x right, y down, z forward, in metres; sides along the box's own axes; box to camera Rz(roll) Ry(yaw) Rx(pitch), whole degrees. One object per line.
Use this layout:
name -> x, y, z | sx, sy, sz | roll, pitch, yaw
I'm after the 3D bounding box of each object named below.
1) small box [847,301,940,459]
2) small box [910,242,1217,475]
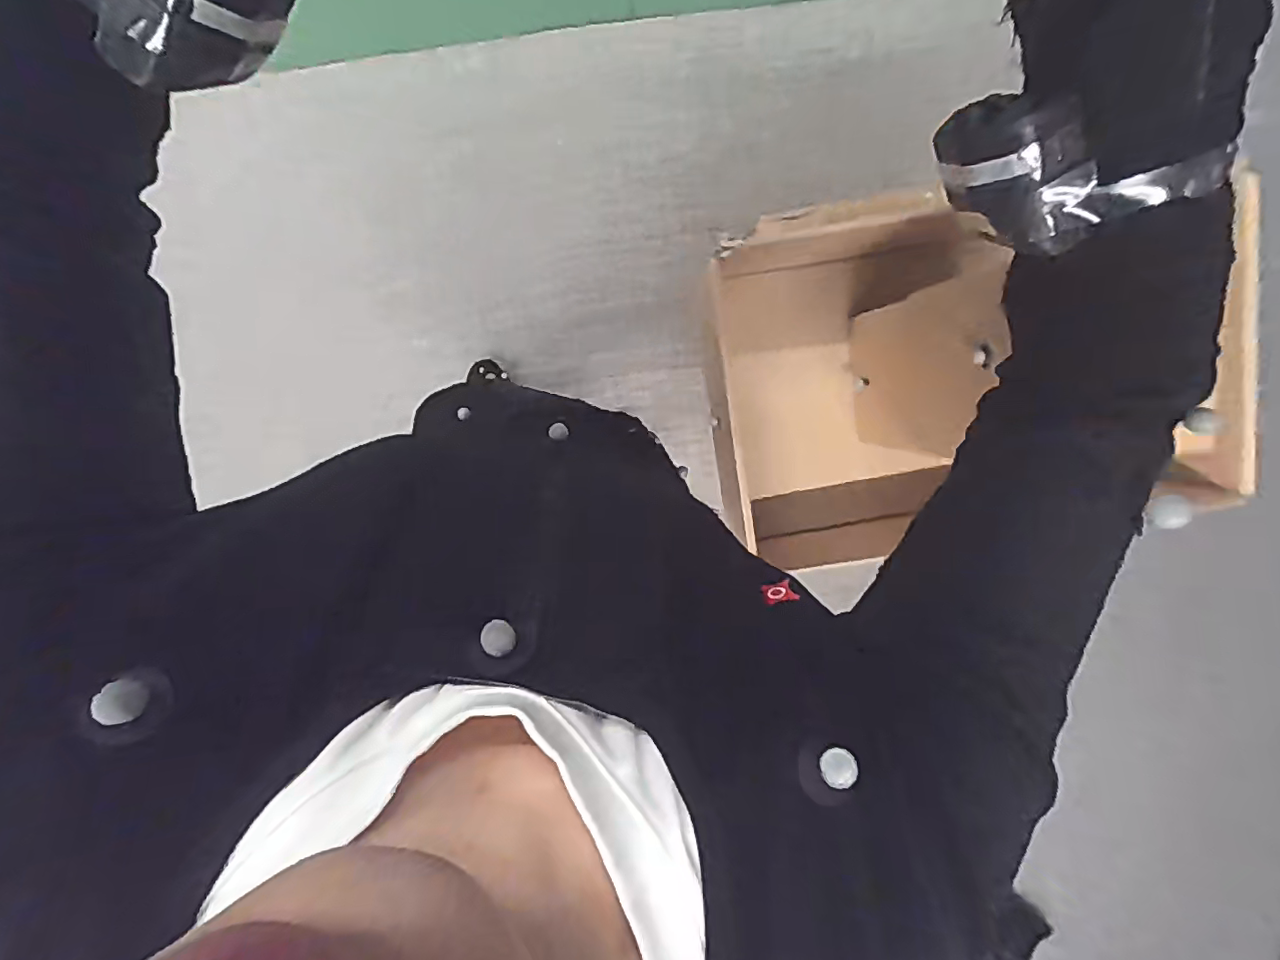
small box -> 0.378, -0.133, 0.680 | 0.168, 0.176, 0.179 | -9, 99, -2
small box -> 0.380, -0.108, 0.518 | 0.168, 0.176, 0.179 | -6, 99, -1
